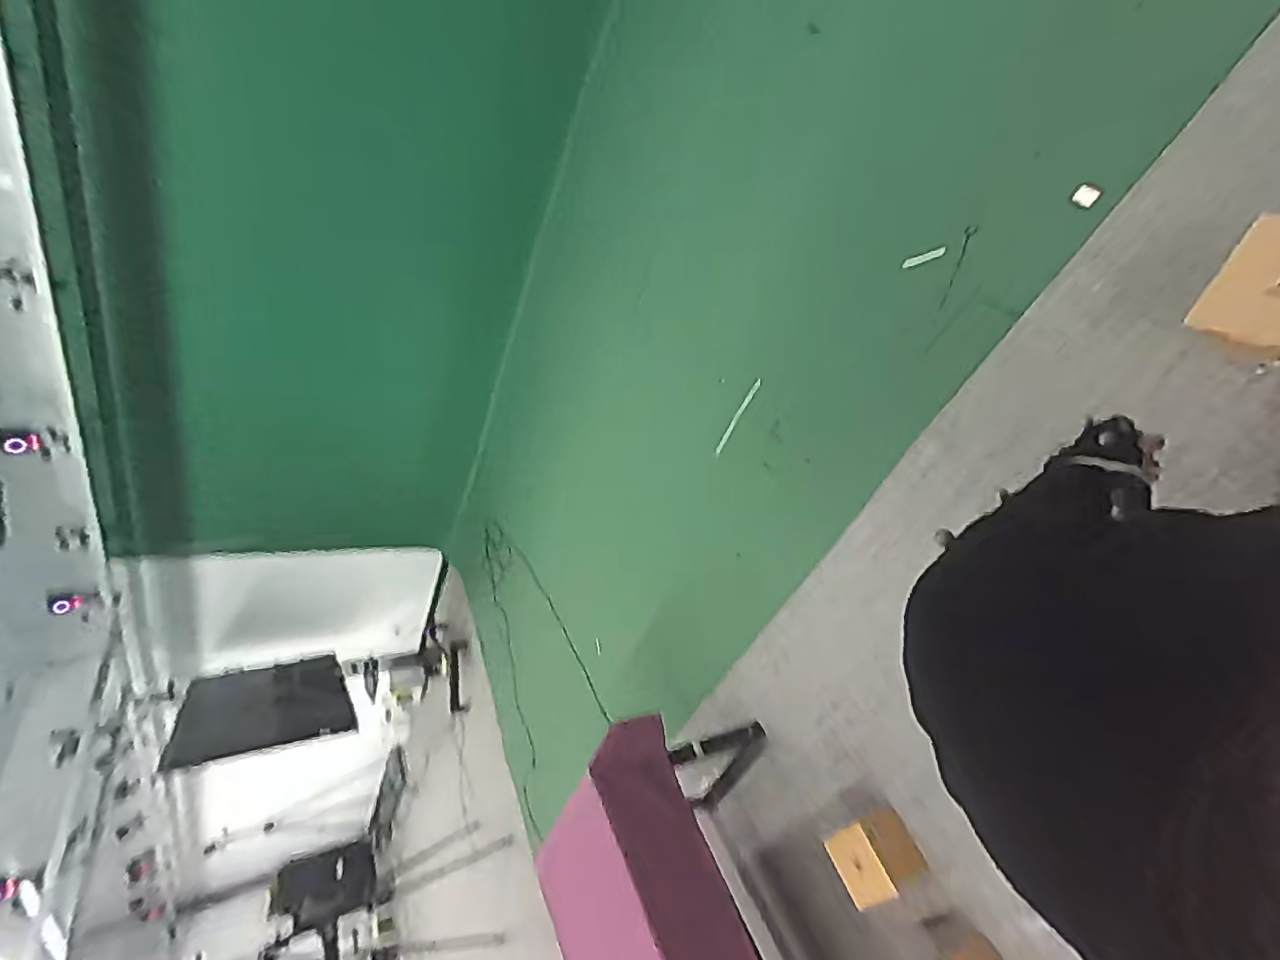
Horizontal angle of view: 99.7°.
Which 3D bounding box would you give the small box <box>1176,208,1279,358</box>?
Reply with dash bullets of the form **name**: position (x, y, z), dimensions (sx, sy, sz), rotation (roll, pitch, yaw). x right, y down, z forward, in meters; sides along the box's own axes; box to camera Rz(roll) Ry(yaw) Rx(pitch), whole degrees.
- **small box**: position (1.011, -0.293, 0.841), dimensions (0.168, 0.176, 0.179), rotation (47, 125, 45)
